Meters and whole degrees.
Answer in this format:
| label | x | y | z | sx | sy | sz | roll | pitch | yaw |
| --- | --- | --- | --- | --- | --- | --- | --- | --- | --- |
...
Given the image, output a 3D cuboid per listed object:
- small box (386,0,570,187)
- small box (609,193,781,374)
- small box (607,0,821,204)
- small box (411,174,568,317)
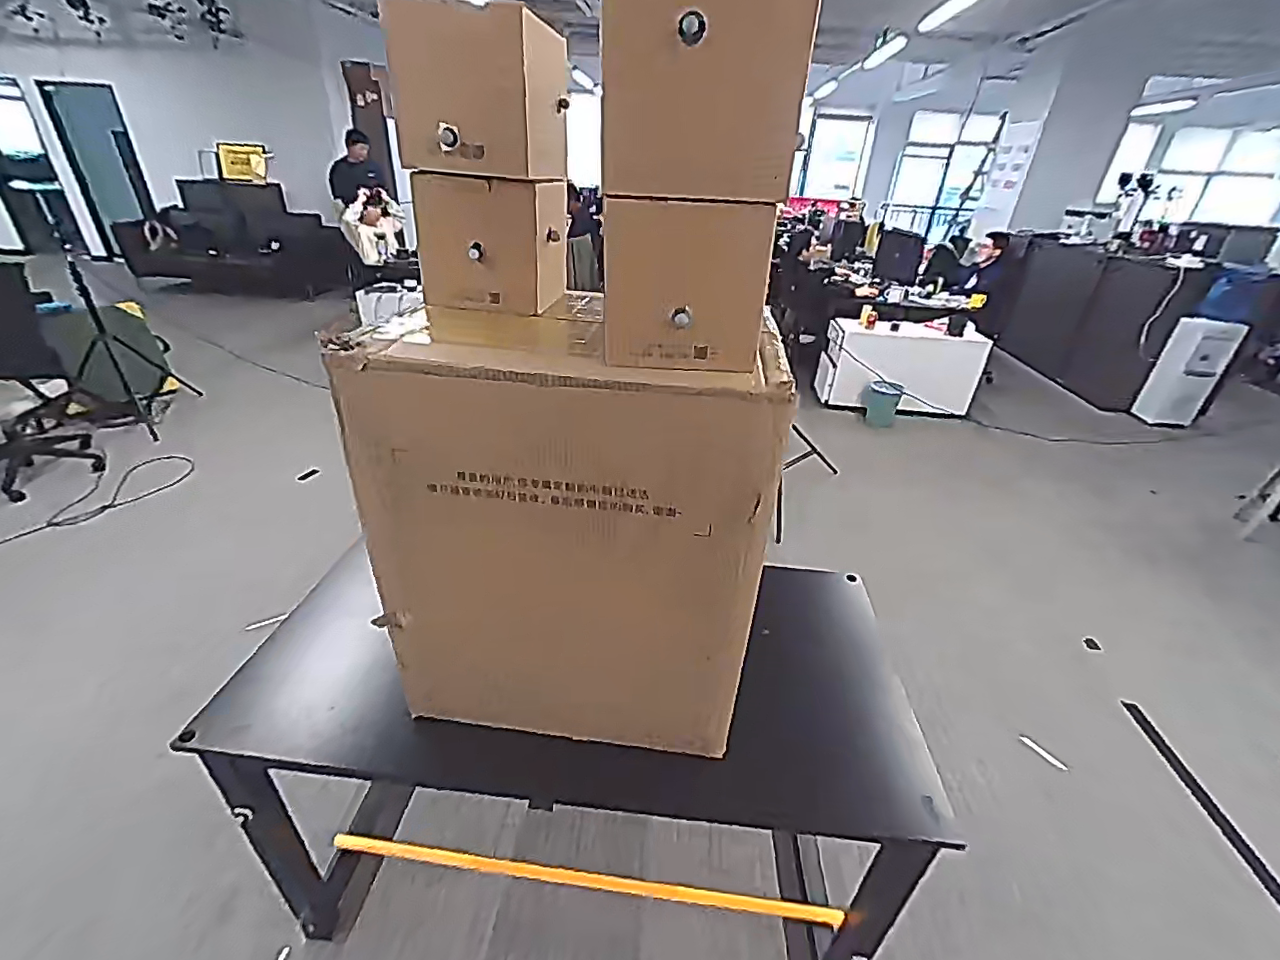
| label | x | y | z | sx | sy | sz | roll | pitch | yaw |
| --- | --- | --- | --- | --- | --- | --- | --- | --- | --- |
| small box | -0.190 | -0.475 | 0.686 | 0.168 | 0.176 | 0.179 | 6 | 30 | 5 |
| small box | 0.054 | -0.232 | 0.618 | 0.168 | 0.176 | 0.179 | 3 | 31 | 3 |
| small box | 0.064 | -0.366 | 0.523 | 0.179 | 0.176 | 0.168 | 5 | 31 | 4 |
| small box | -0.201 | -0.342 | 0.782 | 0.168 | 0.176 | 0.179 | 7 | 31 | 3 |
